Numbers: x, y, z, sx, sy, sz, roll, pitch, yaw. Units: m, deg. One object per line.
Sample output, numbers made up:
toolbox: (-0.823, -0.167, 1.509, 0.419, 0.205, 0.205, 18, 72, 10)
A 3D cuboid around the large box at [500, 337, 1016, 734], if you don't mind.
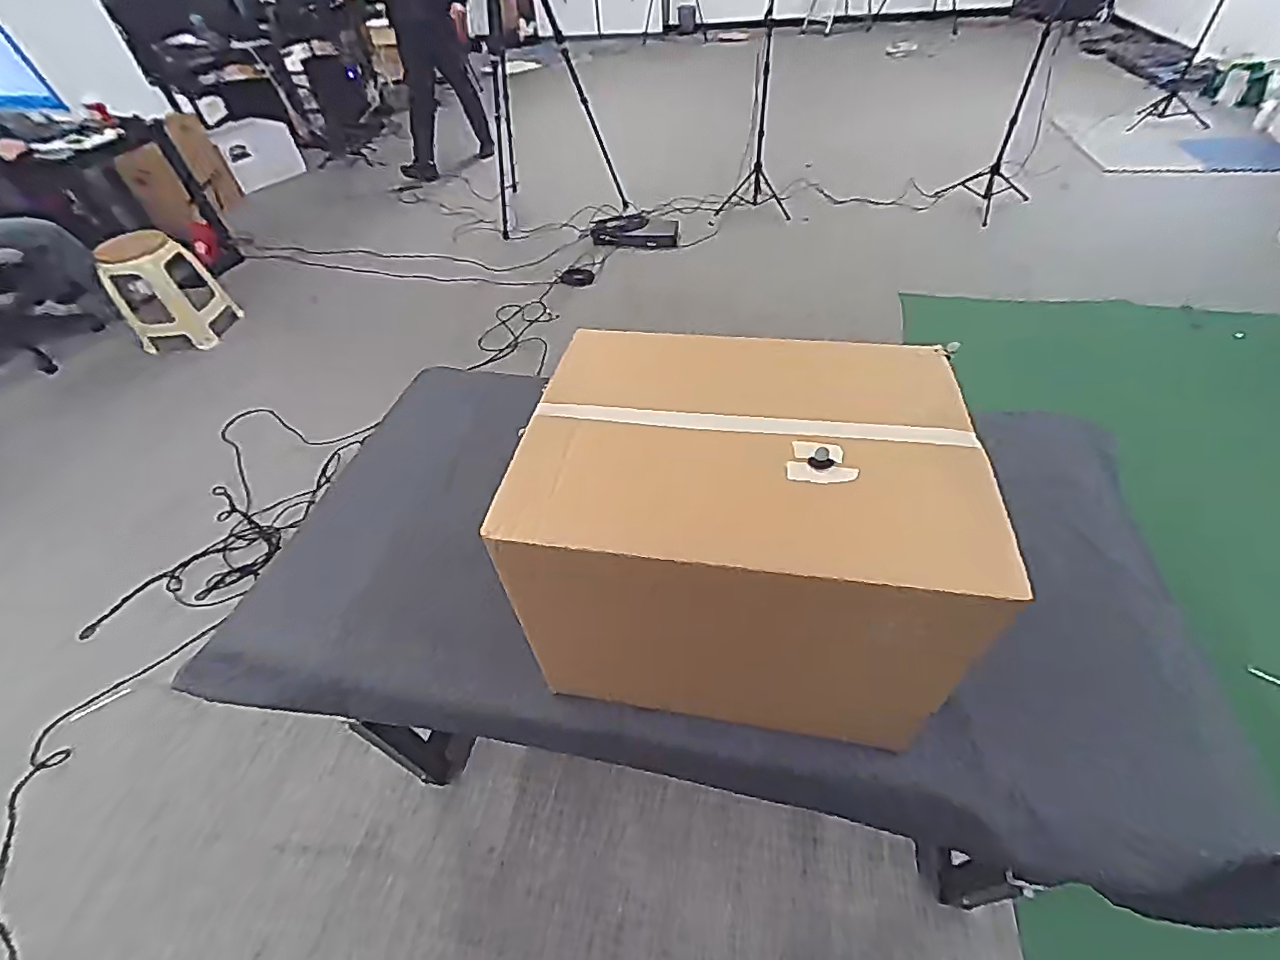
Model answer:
large box: (0.106, 0.058, 0.622, 0.408, 0.320, 0.320, 6, 48, 8)
